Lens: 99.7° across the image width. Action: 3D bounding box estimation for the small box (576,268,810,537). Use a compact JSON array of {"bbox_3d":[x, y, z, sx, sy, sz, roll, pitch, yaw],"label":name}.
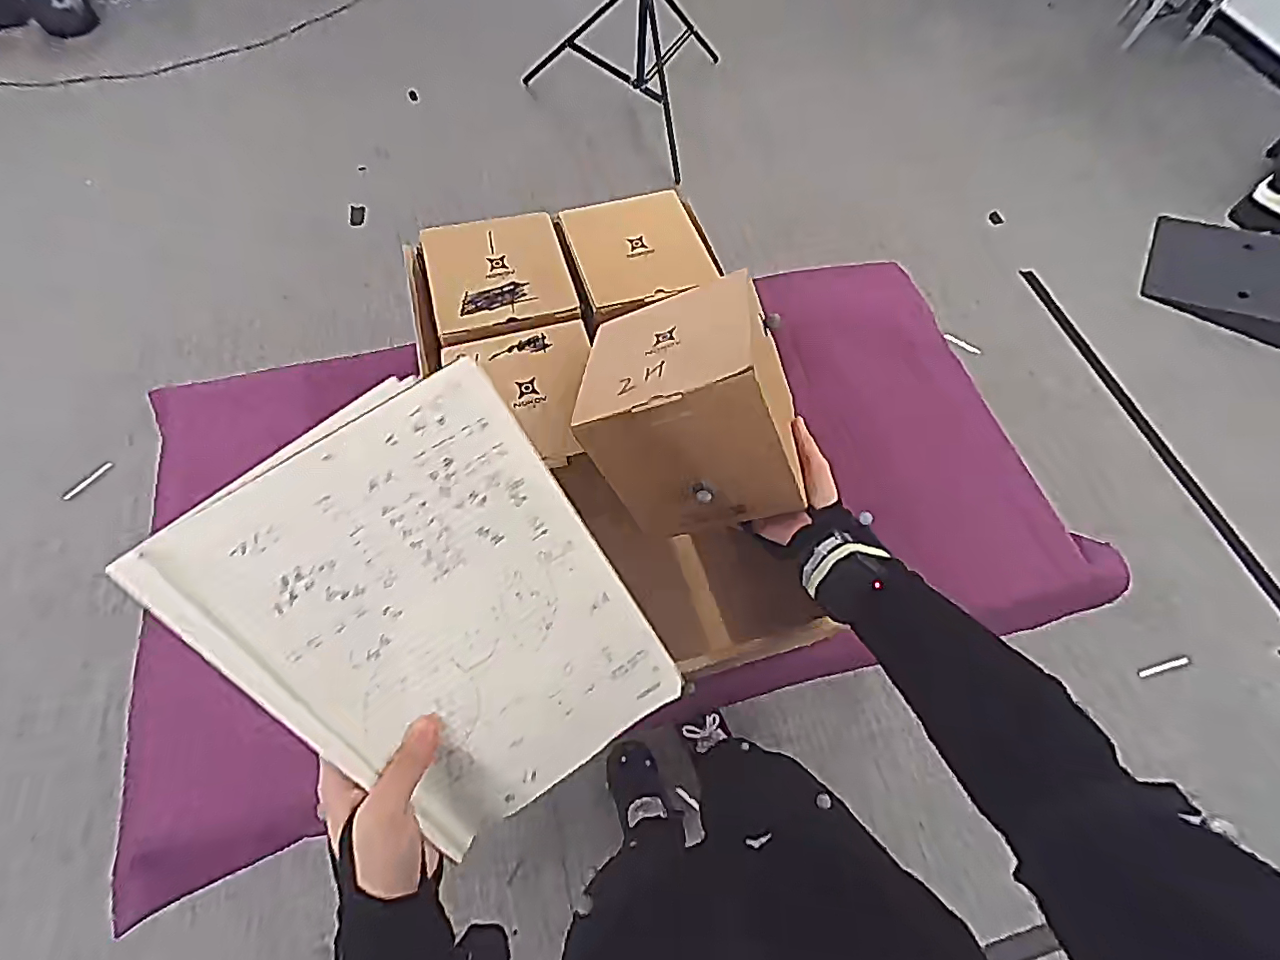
[{"bbox_3d":[0.061,-0.070,0.536,0.168,0.176,0.179,-15,43,22],"label":"small box"}]
